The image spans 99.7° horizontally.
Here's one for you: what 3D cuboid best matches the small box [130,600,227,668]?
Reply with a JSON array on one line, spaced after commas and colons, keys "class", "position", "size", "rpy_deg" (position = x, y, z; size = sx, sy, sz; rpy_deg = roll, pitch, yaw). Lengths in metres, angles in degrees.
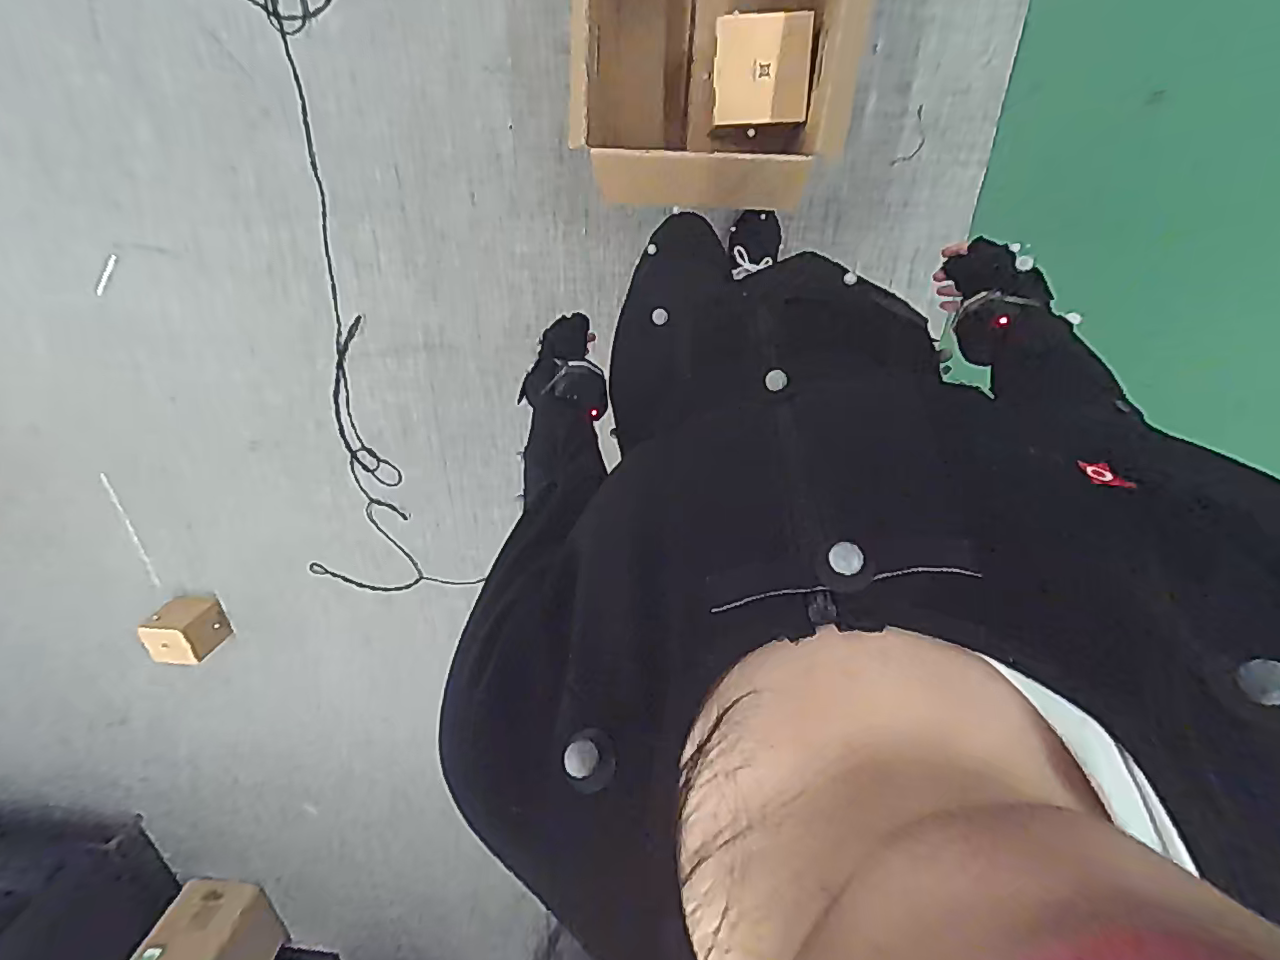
[{"class": "small box", "position": [-1.654, 0.550, 1.950], "size": [0.179, 0.176, 0.168], "rpy_deg": [2, 117, 5]}]
